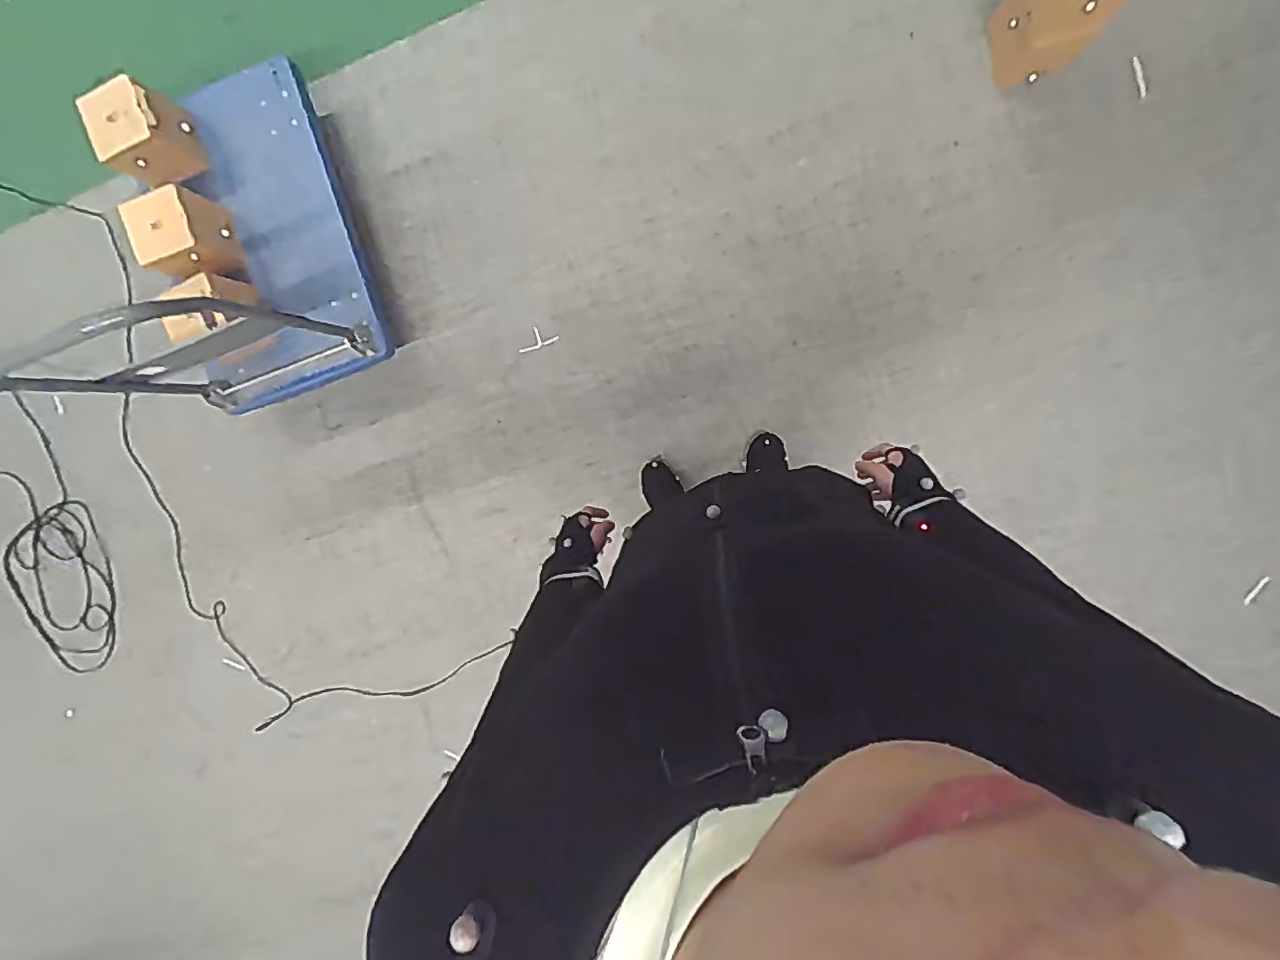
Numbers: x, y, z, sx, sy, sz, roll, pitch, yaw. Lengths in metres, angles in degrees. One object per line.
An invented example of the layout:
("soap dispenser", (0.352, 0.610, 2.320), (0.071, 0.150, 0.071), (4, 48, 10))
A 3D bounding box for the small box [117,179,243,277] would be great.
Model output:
("small box", (-1.246, -0.676, 1.475), (0.179, 0.176, 0.168), (-17, 93, 7))

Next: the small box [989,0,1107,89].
("small box", (1.003, -1.131, 1.344), (0.168, 0.176, 0.179), (-12, 94, 9))

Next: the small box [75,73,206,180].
("small box", (-1.333, -0.938, 1.453), (0.179, 0.176, 0.168), (-12, 97, 6))
